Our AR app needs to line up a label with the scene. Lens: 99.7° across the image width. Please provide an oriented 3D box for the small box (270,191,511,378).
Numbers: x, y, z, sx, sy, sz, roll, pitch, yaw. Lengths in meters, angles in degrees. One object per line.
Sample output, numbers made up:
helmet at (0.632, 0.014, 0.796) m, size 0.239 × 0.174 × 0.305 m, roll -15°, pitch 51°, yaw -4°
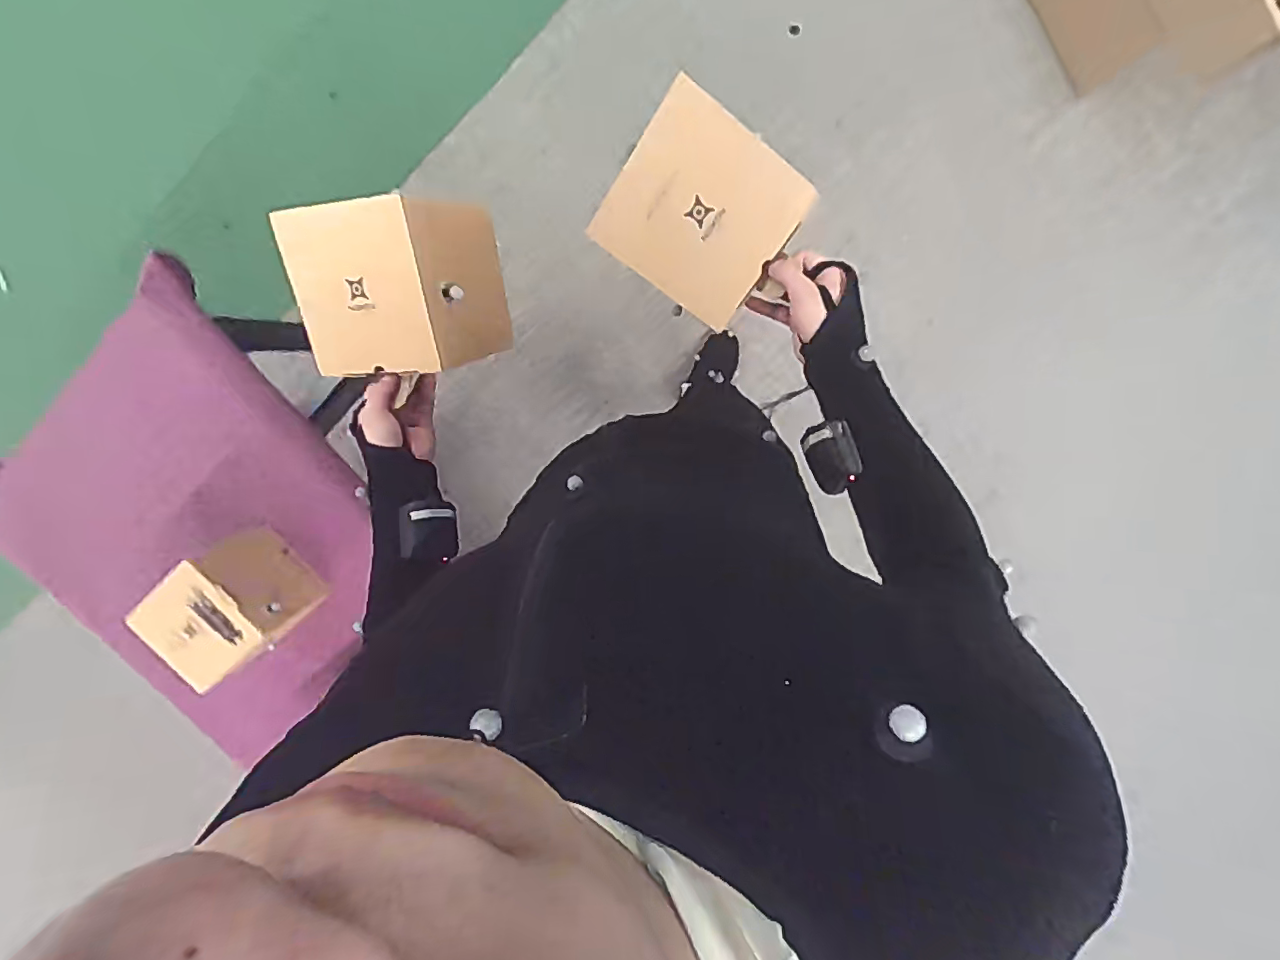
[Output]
small box at (-0.271, -0.225, 0.632) m, size 0.168 × 0.176 × 0.179 m, roll 1°, pitch 114°, yaw 16°

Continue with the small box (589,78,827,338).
small box at (0.065, -0.287, 0.598) m, size 0.179 × 0.176 × 0.168 m, roll 34°, pitch 109°, yaw -14°
